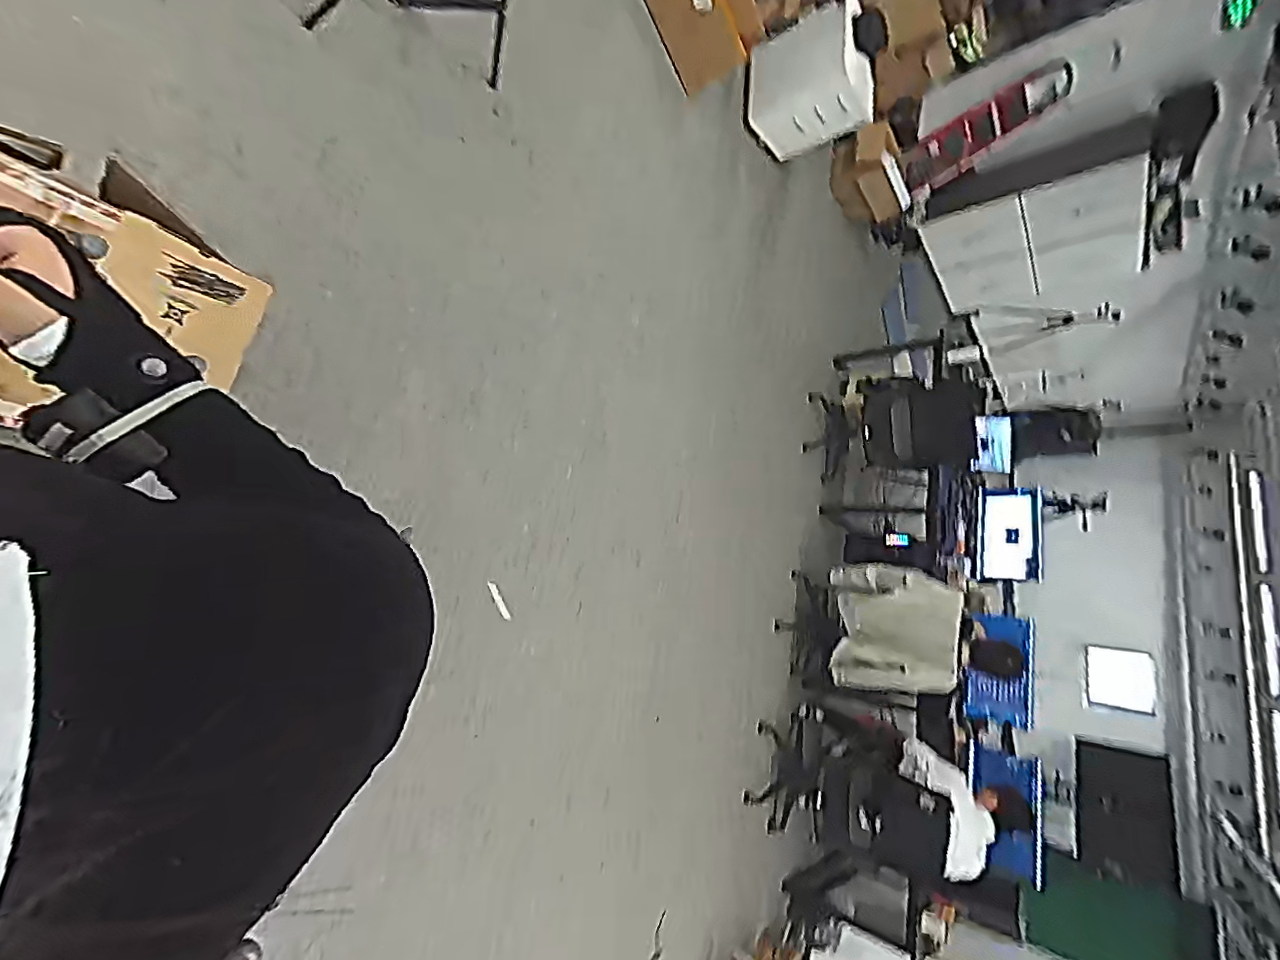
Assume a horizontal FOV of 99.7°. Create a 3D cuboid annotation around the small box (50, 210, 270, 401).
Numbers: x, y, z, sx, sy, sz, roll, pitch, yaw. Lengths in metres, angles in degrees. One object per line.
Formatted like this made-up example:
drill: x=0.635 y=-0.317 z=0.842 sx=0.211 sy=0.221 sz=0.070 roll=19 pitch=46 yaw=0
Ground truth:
small box: x=-0.653 y=-0.222 z=0.738 sx=0.168 sy=0.176 sz=0.179 roll=29 pitch=70 yaw=-48
